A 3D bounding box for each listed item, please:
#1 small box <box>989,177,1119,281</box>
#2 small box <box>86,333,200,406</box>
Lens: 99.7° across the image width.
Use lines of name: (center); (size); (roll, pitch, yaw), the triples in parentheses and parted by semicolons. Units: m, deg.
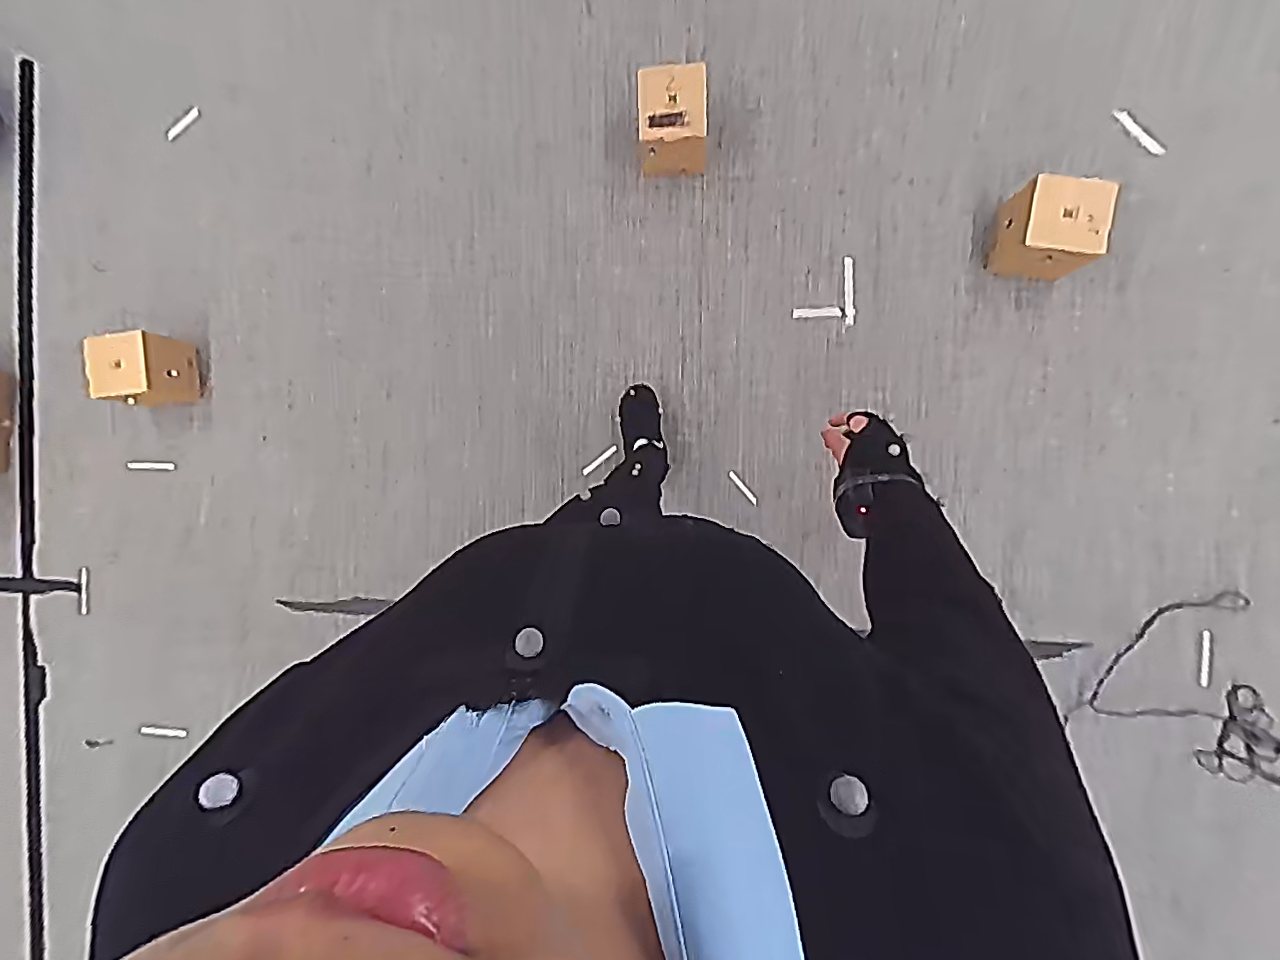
small box: (0.980, -0.593, 1.298); (0.179, 0.176, 0.168); (10, 92, 5)
small box: (-1.388, -0.307, 1.525); (0.179, 0.176, 0.168); (-6, 91, 6)
